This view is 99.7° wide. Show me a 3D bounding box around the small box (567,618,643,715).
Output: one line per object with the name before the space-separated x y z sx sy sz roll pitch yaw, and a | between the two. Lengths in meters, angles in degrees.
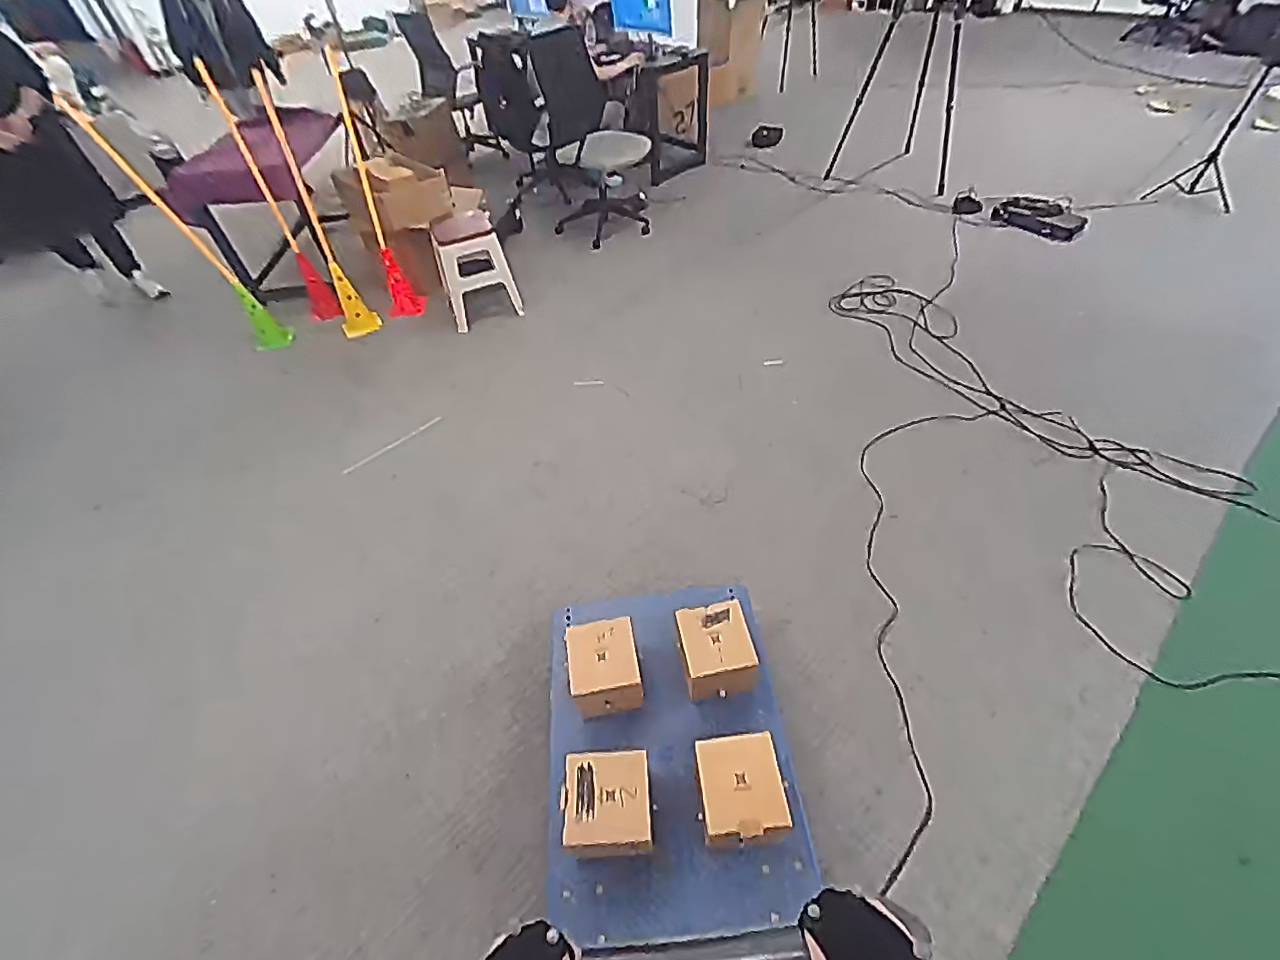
small box | -0.087 0.474 1.358 0.168 0.176 0.179 -9 48 -4

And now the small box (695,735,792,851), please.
small box | 0.212 0.672 1.160 0.168 0.176 0.179 -7 49 -1

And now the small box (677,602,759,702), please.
small box | 0.190 0.436 1.369 0.168 0.176 0.179 -10 49 -3
